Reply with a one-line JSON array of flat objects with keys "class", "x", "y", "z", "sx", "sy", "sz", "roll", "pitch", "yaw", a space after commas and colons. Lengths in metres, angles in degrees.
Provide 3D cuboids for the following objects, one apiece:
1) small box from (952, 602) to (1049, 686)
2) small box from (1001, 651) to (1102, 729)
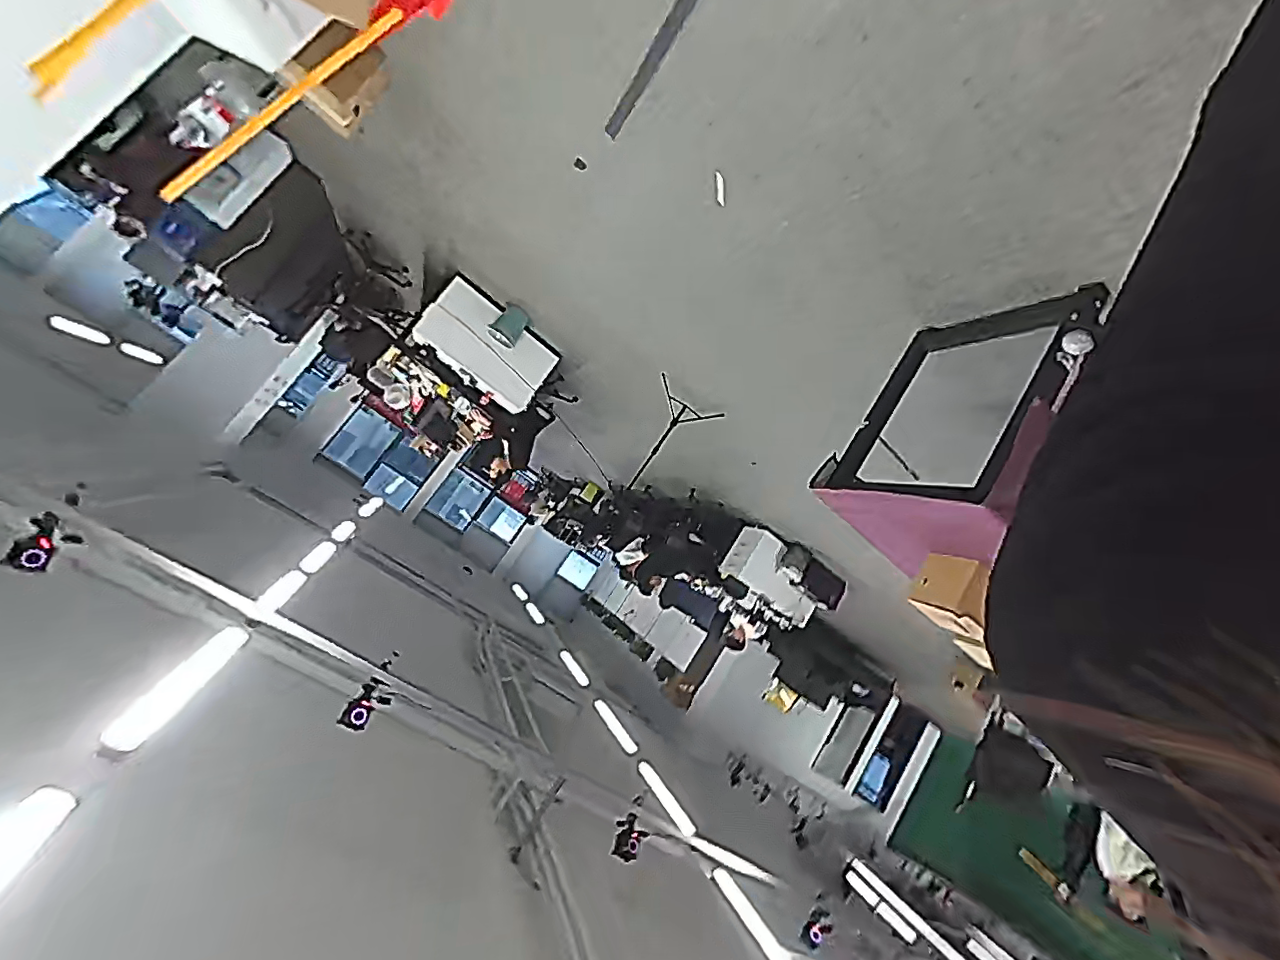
[{"class": "small box", "x": 1.130, "y": 0.502, "z": 1.685, "sx": 0.168, "sy": 0.176, "sz": 0.179, "roll": 39, "pitch": 169, "yaw": -16}, {"class": "small box", "x": 1.336, "y": 0.663, "z": 1.755, "sx": 0.168, "sy": 0.176, "sz": 0.179, "roll": 36, "pitch": 169, "yaw": -10}]
